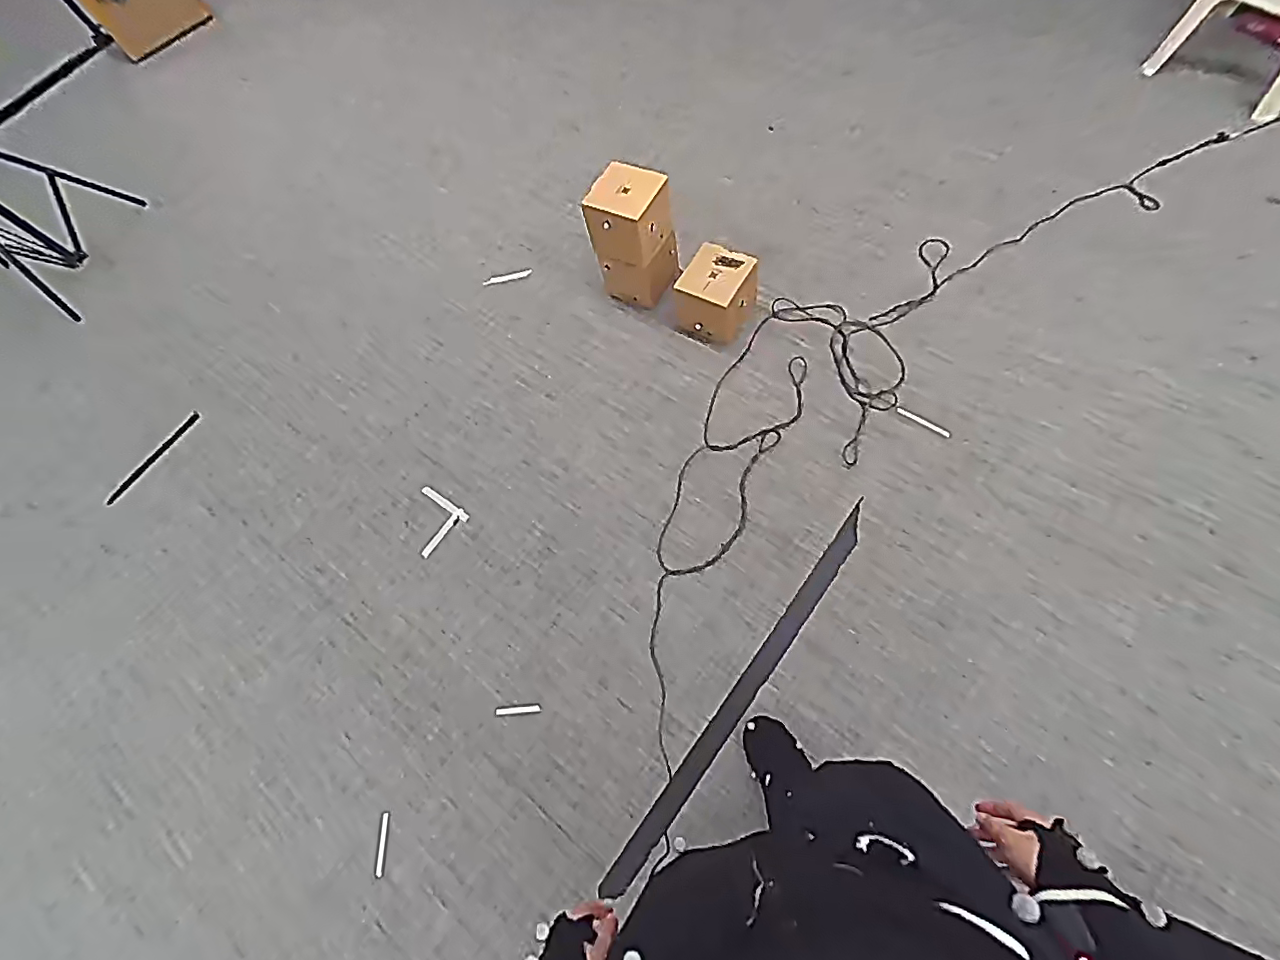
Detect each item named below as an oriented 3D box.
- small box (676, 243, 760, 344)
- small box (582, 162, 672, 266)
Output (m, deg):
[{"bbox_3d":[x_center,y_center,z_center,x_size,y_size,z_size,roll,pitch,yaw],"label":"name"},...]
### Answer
[{"bbox_3d":[0.217,-0.518,1.512,0.168,0.176,0.179,28,75,20],"label":"small box"},{"bbox_3d":[-0.026,-0.710,1.457,0.179,0.176,0.168,25,73,19],"label":"small box"}]
